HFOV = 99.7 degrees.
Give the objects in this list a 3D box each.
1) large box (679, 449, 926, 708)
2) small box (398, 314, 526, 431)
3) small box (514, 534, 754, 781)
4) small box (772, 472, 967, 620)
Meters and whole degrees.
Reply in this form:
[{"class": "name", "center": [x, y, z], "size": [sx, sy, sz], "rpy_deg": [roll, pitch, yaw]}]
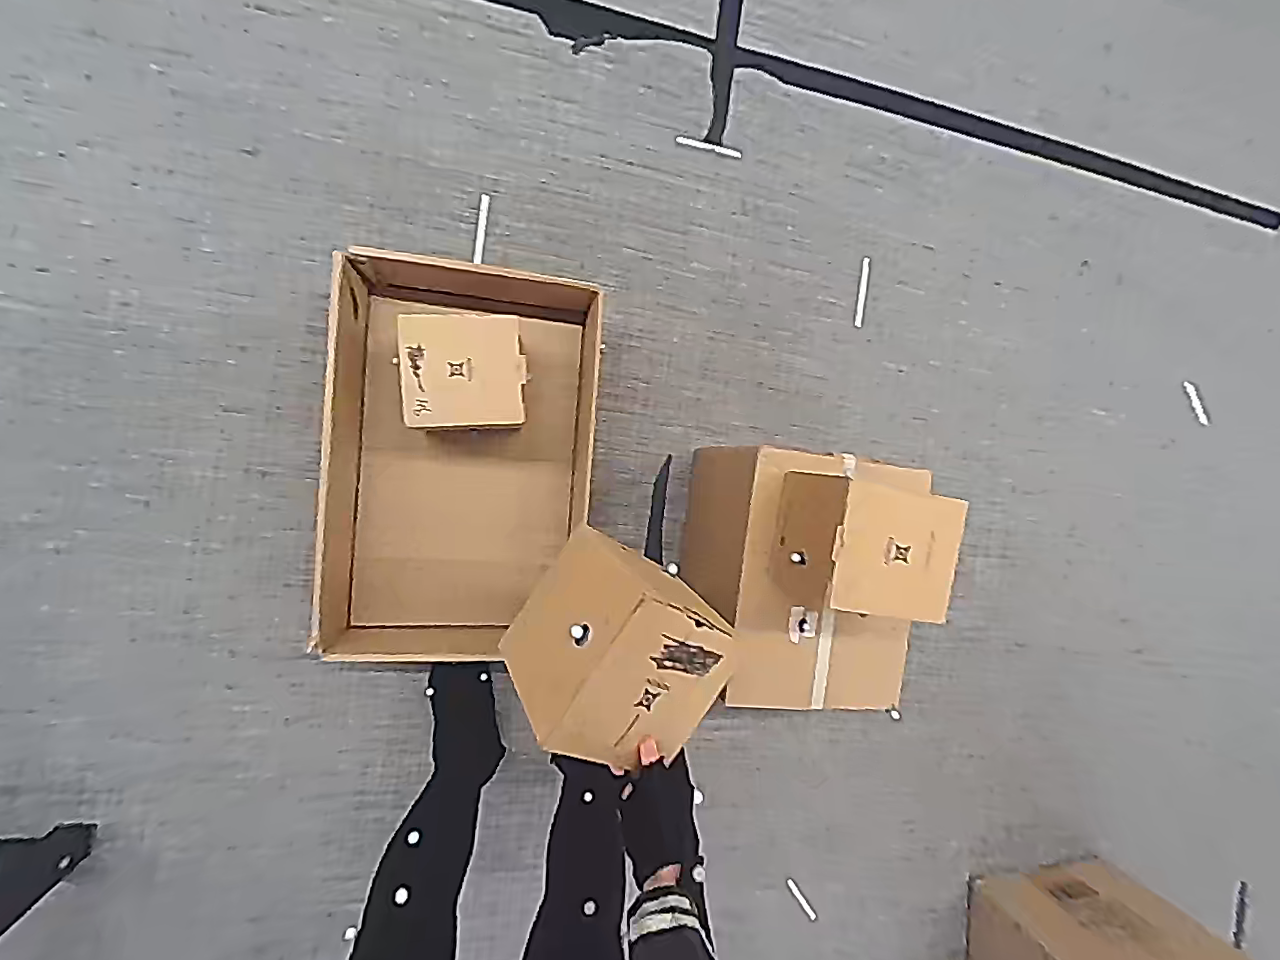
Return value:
[{"class": "large box", "center": [0.268, 0.155, 0.999], "size": [0.320, 0.320, 0.408], "rpy_deg": [6, 92, -12]}, {"class": "small box", "center": [-0.282, -0.166, 0.880], "size": [0.179, 0.176, 0.168], "rpy_deg": [-3, 94, -13]}, {"class": "small box", "center": [-0.016, 0.187, 0.599], "size": [0.168, 0.176, 0.179], "rpy_deg": [34, 91, -32]}, {"class": "small box", "center": [0.306, 0.082, 0.755], "size": [0.179, 0.176, 0.168], "rpy_deg": [9, 92, -13]}]
